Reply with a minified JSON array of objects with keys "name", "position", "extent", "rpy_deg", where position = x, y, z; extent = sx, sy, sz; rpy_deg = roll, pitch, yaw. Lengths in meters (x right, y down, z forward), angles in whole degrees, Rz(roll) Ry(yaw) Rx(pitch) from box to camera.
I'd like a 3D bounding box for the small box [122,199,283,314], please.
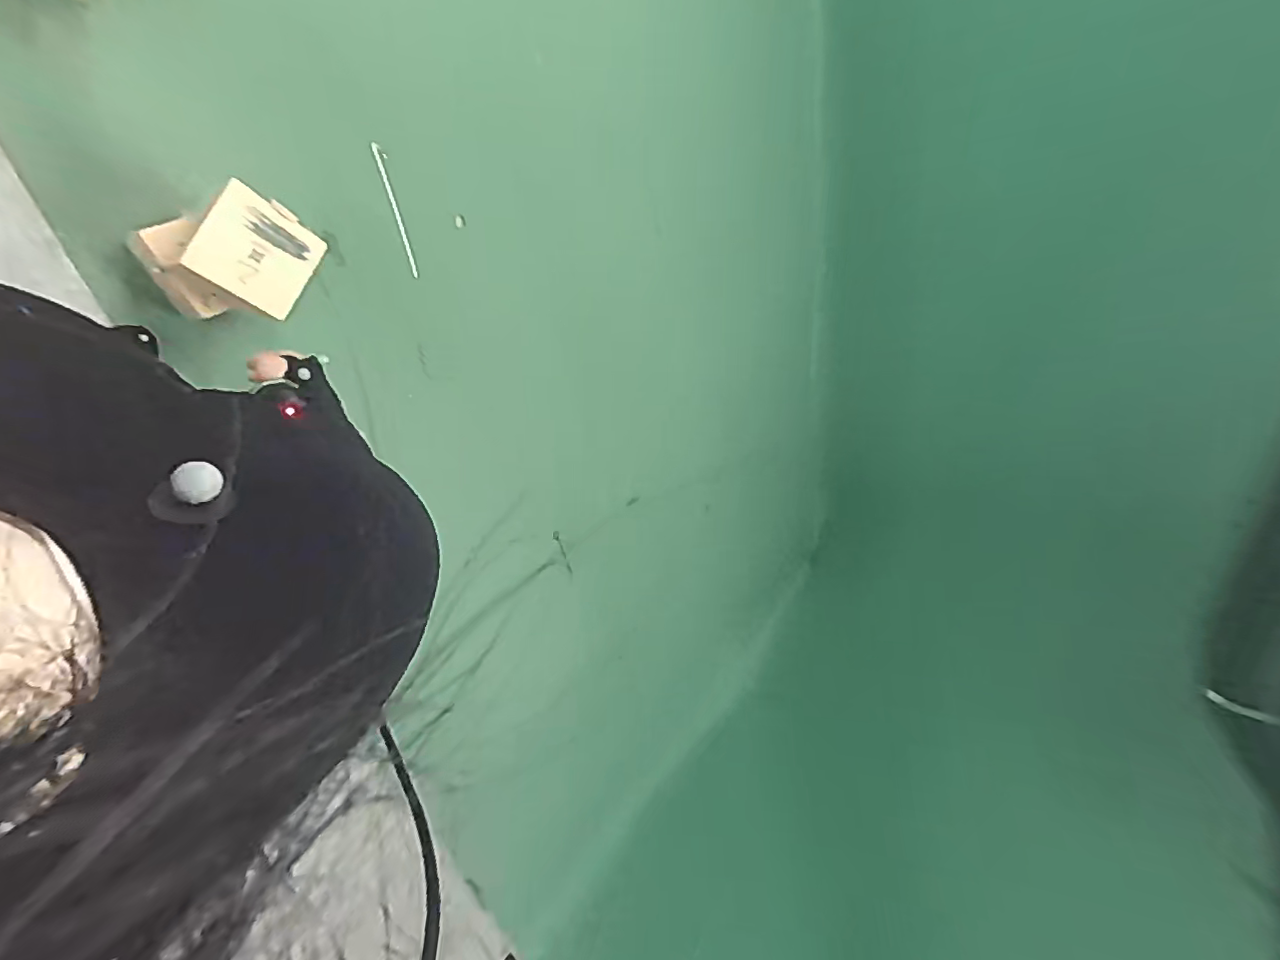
[{"name":"small box","position":[-0.875,-0.446,1.083],"extent":[0.179,0.176,0.168],"rpy_deg":[-44,133,-33]}]
